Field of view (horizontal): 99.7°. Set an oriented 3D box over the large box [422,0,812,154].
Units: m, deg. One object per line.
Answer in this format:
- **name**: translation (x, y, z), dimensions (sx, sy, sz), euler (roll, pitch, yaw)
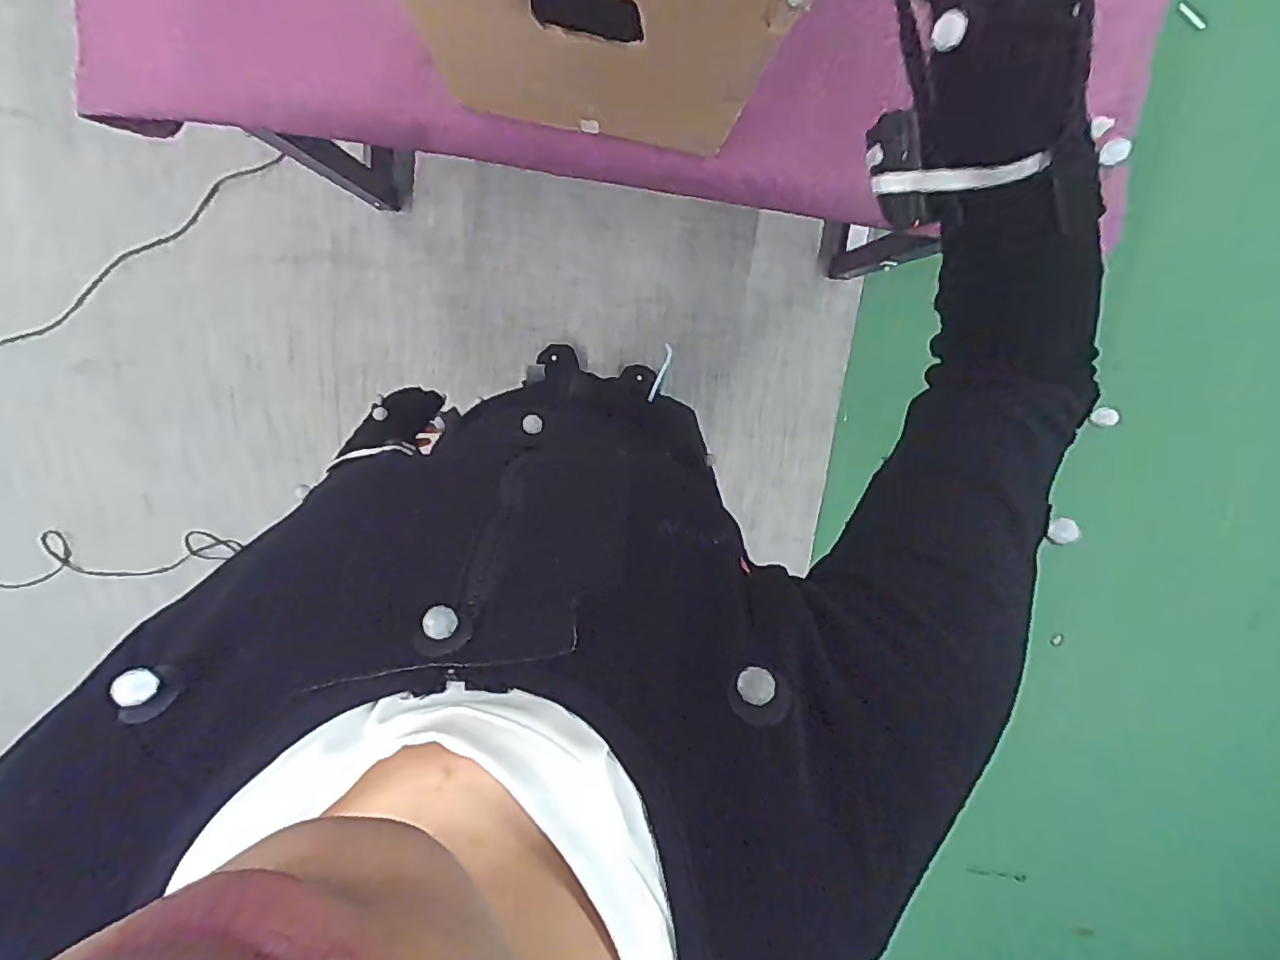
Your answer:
- **large box**: translation (-0.009, -0.579, 0.468), dimensions (0.320, 0.320, 0.408), euler (9, 103, -6)
